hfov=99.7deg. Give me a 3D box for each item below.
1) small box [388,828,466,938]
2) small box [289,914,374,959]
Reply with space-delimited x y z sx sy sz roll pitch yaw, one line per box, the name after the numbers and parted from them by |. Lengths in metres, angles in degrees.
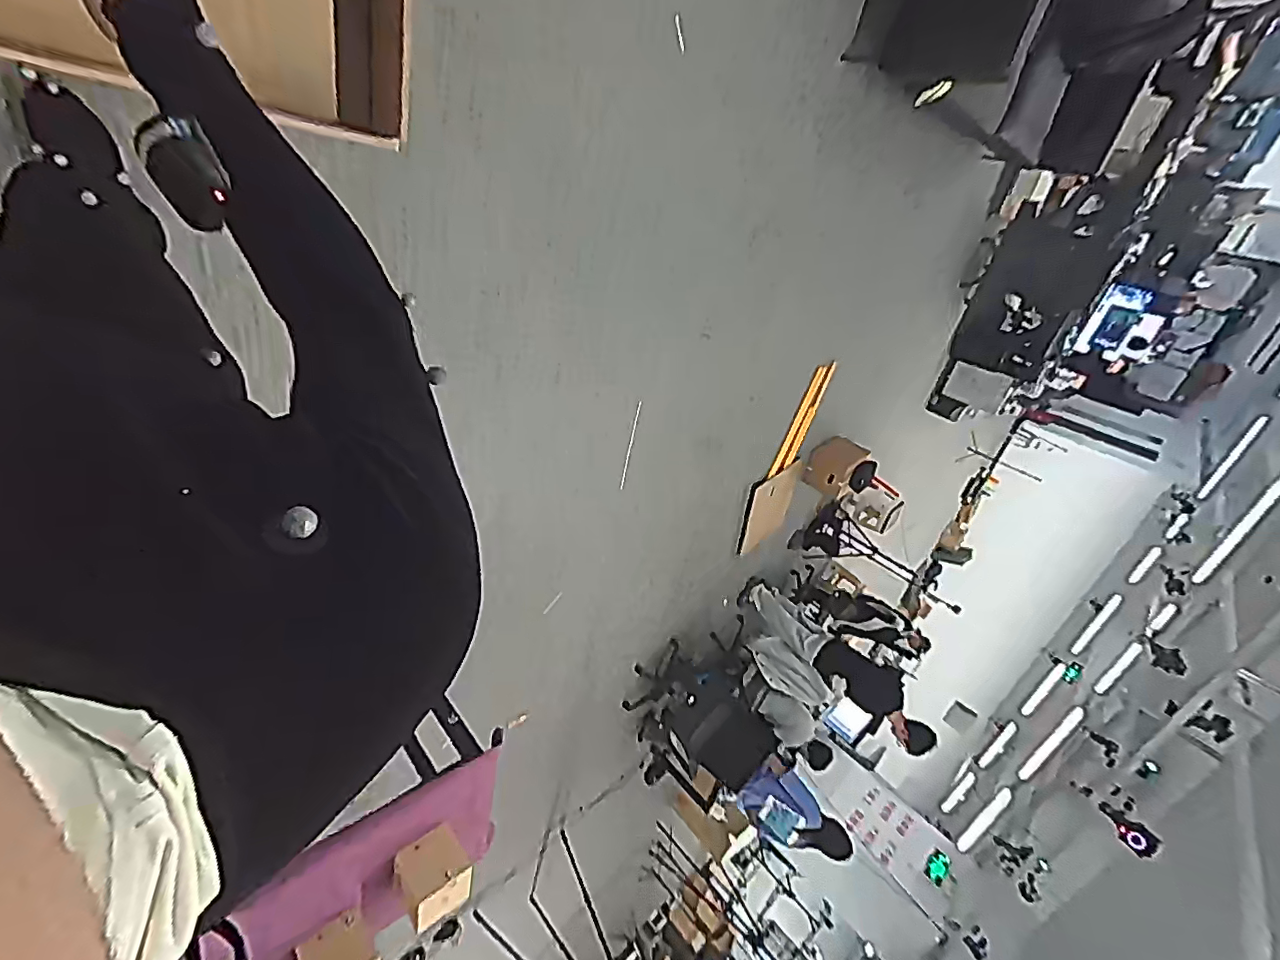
-0.646 1.207 1.631 0.168 0.176 0.179 -15 129 -44 | small box
-0.859 1.374 1.511 0.168 0.176 0.179 -17 131 -43 | small box
